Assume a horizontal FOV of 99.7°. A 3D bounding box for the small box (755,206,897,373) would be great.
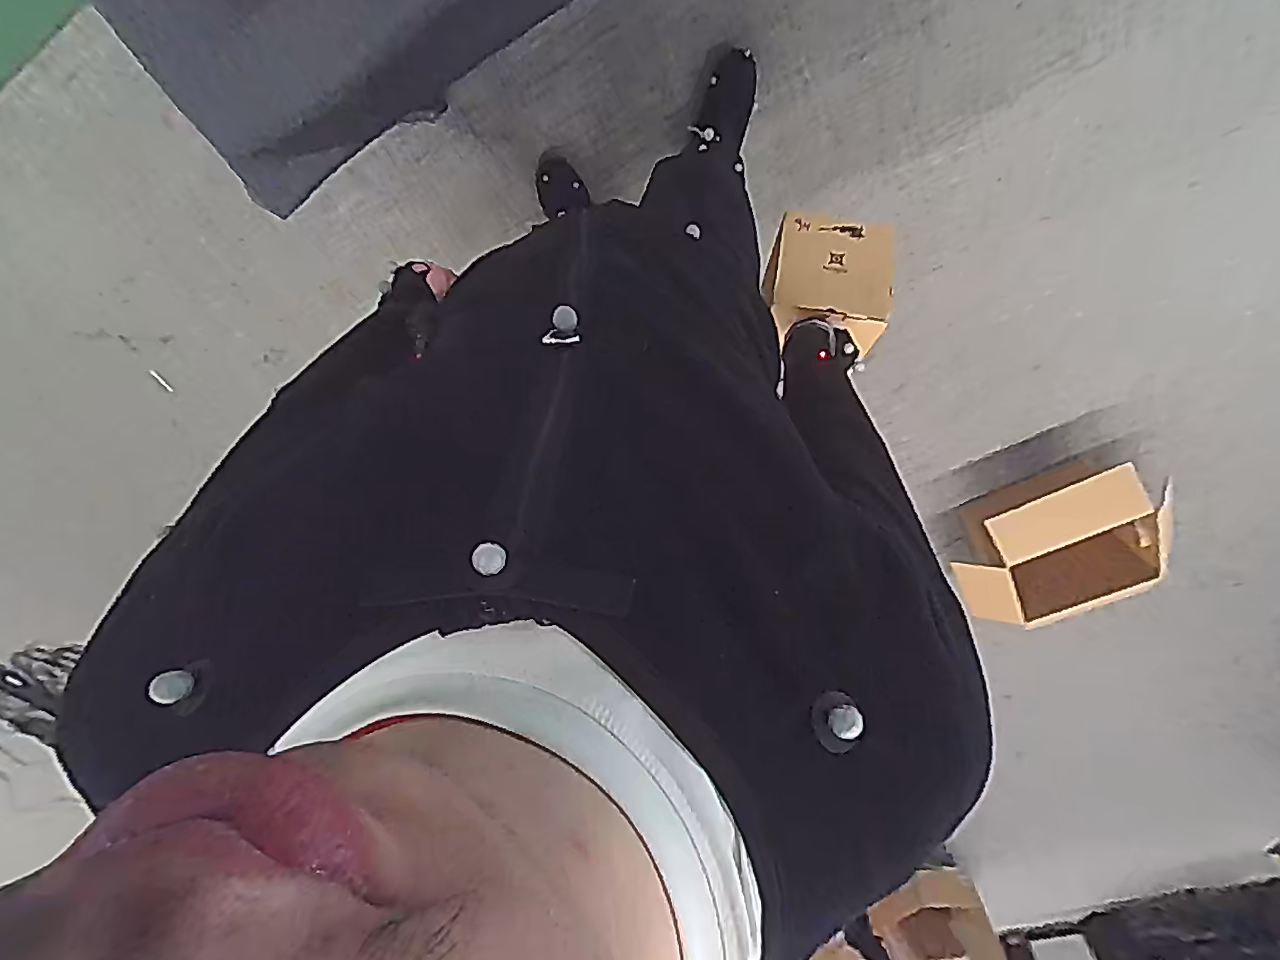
[{"bbox_3d":[0.285,-0.292,0.857,0.168,0.179,0.176,11,162,3],"label":"small box"}]
